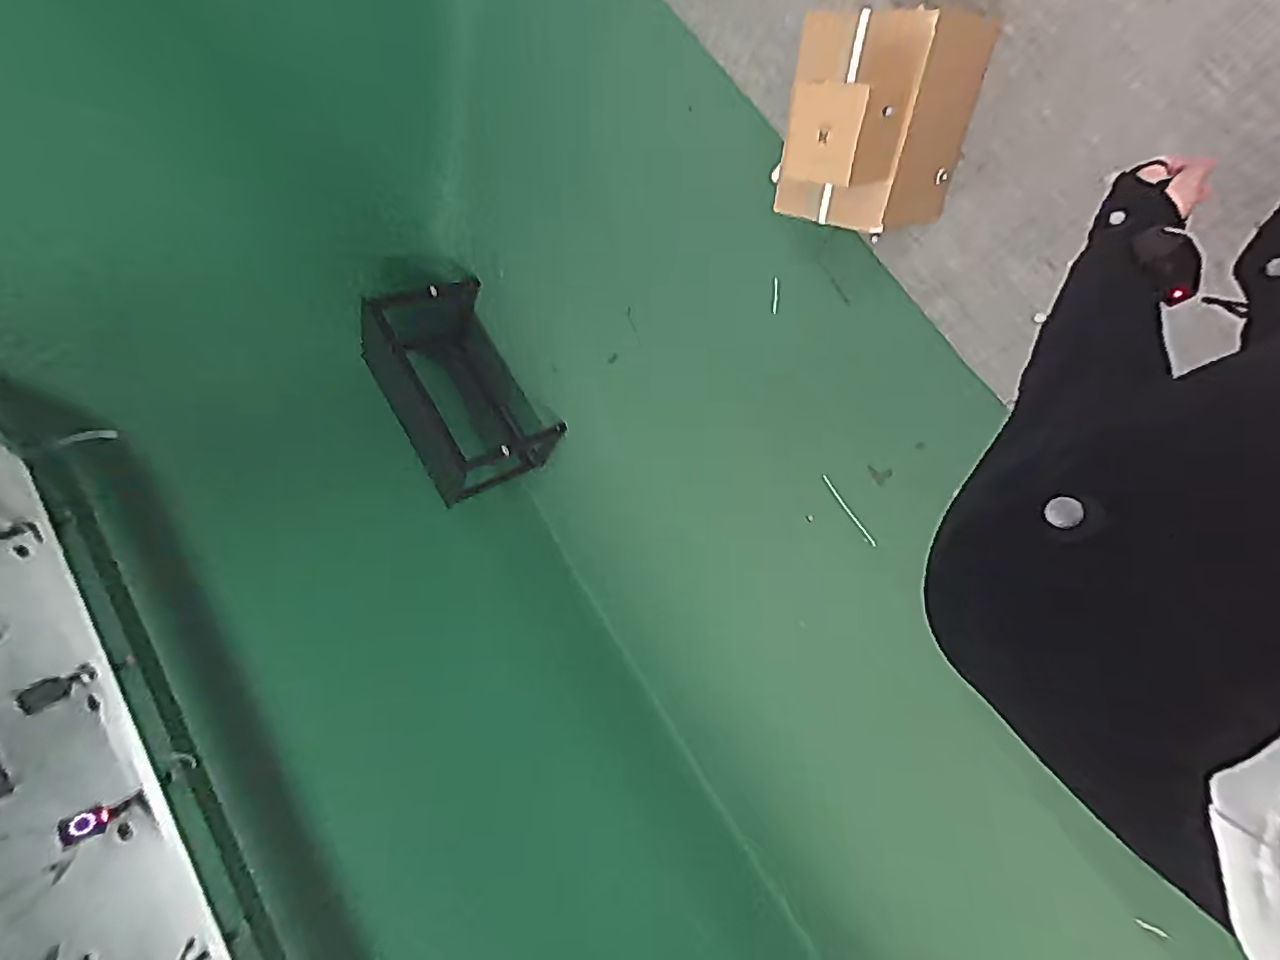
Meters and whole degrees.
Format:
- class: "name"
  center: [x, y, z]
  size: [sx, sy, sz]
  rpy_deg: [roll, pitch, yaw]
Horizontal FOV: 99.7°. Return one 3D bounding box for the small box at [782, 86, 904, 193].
- class: "small box"
  center: [0.436, -0.732, 1.161]
  size: [0.168, 0.176, 0.179]
  rpy_deg: [35, 138, 36]
